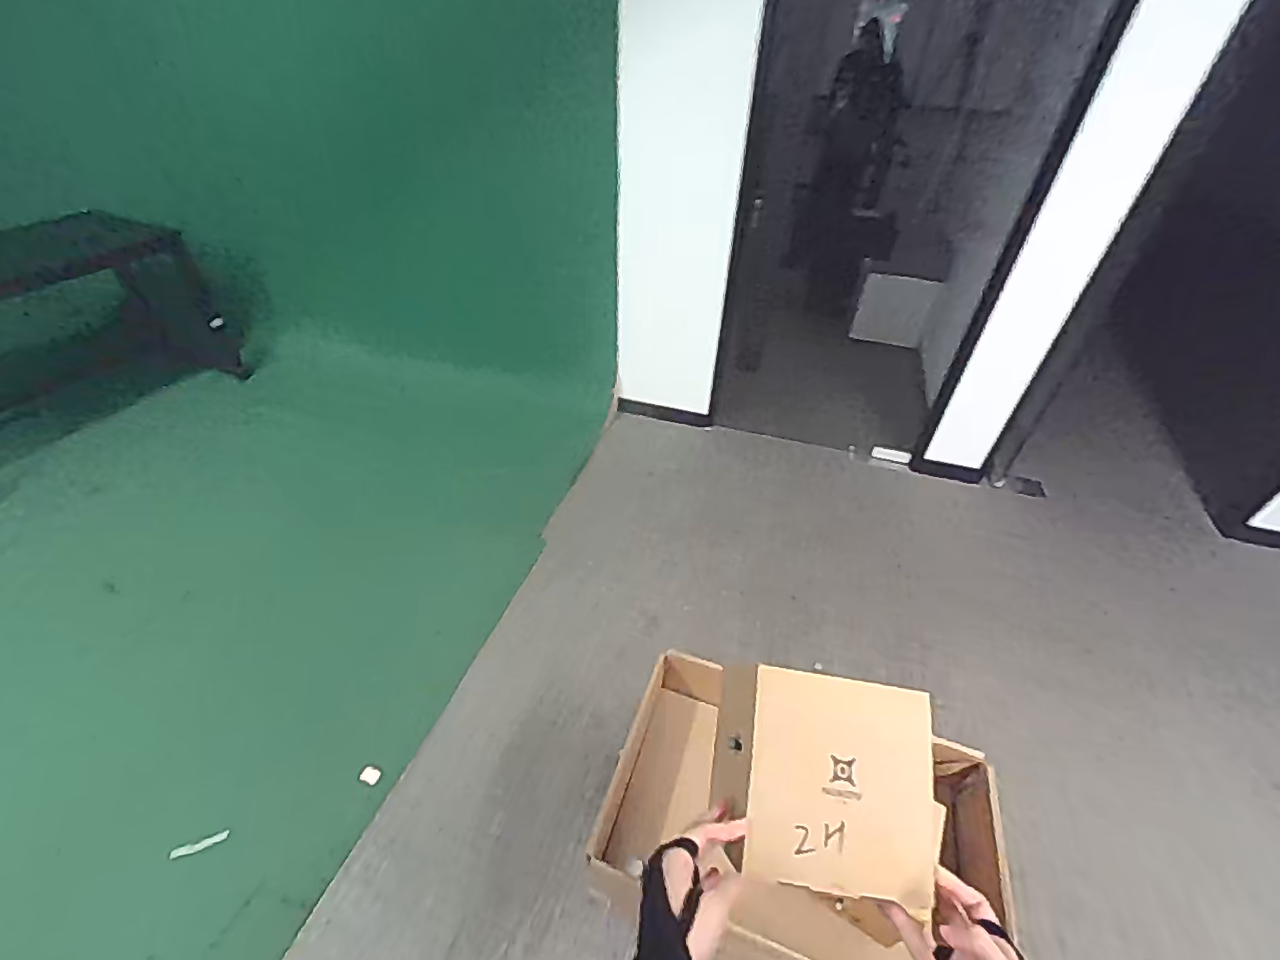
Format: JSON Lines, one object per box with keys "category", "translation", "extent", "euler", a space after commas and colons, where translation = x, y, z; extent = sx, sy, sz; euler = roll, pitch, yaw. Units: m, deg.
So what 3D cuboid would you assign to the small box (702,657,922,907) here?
{"category": "small box", "translation": [0.163, 0.287, 0.552], "extent": [0.168, 0.176, 0.179], "euler": [10, 71, 1]}
